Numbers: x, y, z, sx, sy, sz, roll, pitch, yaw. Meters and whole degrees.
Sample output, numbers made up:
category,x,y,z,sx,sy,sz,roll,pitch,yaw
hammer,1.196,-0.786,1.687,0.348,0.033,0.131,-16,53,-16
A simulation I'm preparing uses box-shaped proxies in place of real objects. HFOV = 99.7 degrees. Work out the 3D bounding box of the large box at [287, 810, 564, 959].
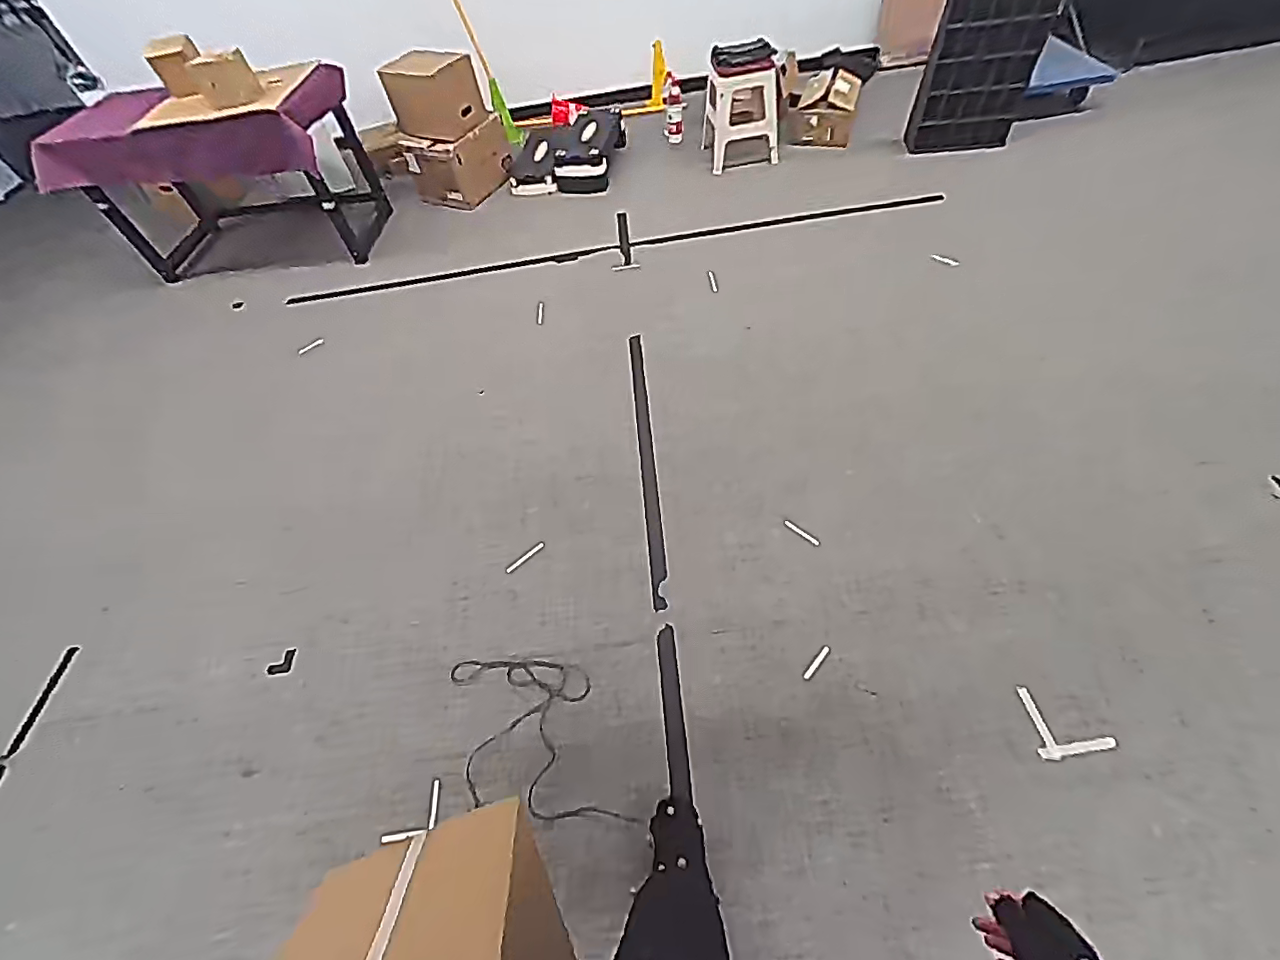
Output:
category,x,y,z,sx,sy,sz,roll,pitch,yaw
large box,-0.273,0.733,0.690,0.320,0.408,0.320,-19,93,-8
